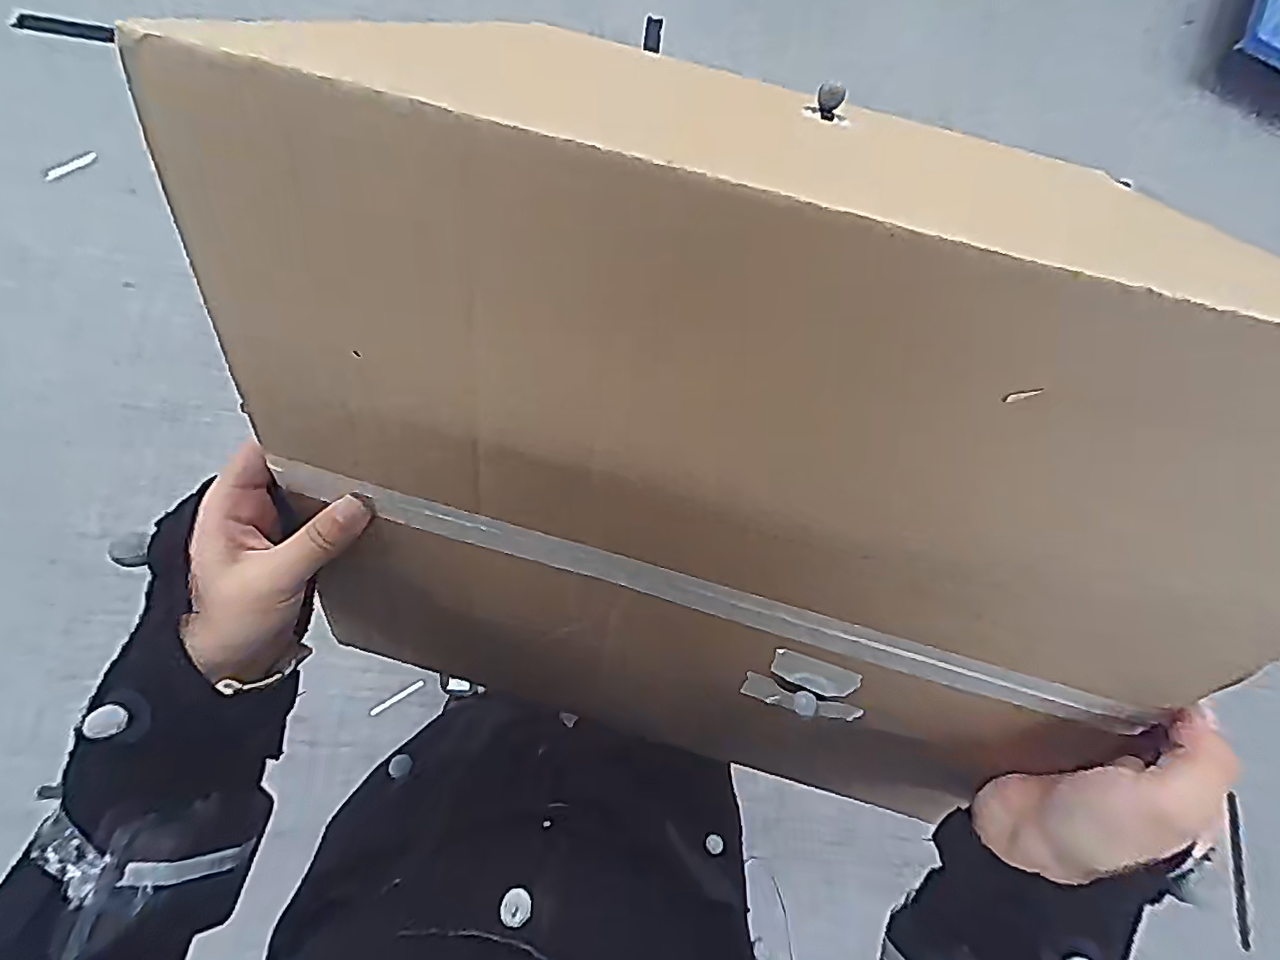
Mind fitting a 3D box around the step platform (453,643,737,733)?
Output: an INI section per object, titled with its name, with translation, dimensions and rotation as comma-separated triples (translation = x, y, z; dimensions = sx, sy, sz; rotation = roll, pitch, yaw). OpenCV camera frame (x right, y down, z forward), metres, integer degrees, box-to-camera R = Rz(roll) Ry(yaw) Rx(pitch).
[step platform]
translation = -0.078, 0.378, 1.282
dimensions = 0.684, 0.204, 0.286
rotation = 13, 80, -4
